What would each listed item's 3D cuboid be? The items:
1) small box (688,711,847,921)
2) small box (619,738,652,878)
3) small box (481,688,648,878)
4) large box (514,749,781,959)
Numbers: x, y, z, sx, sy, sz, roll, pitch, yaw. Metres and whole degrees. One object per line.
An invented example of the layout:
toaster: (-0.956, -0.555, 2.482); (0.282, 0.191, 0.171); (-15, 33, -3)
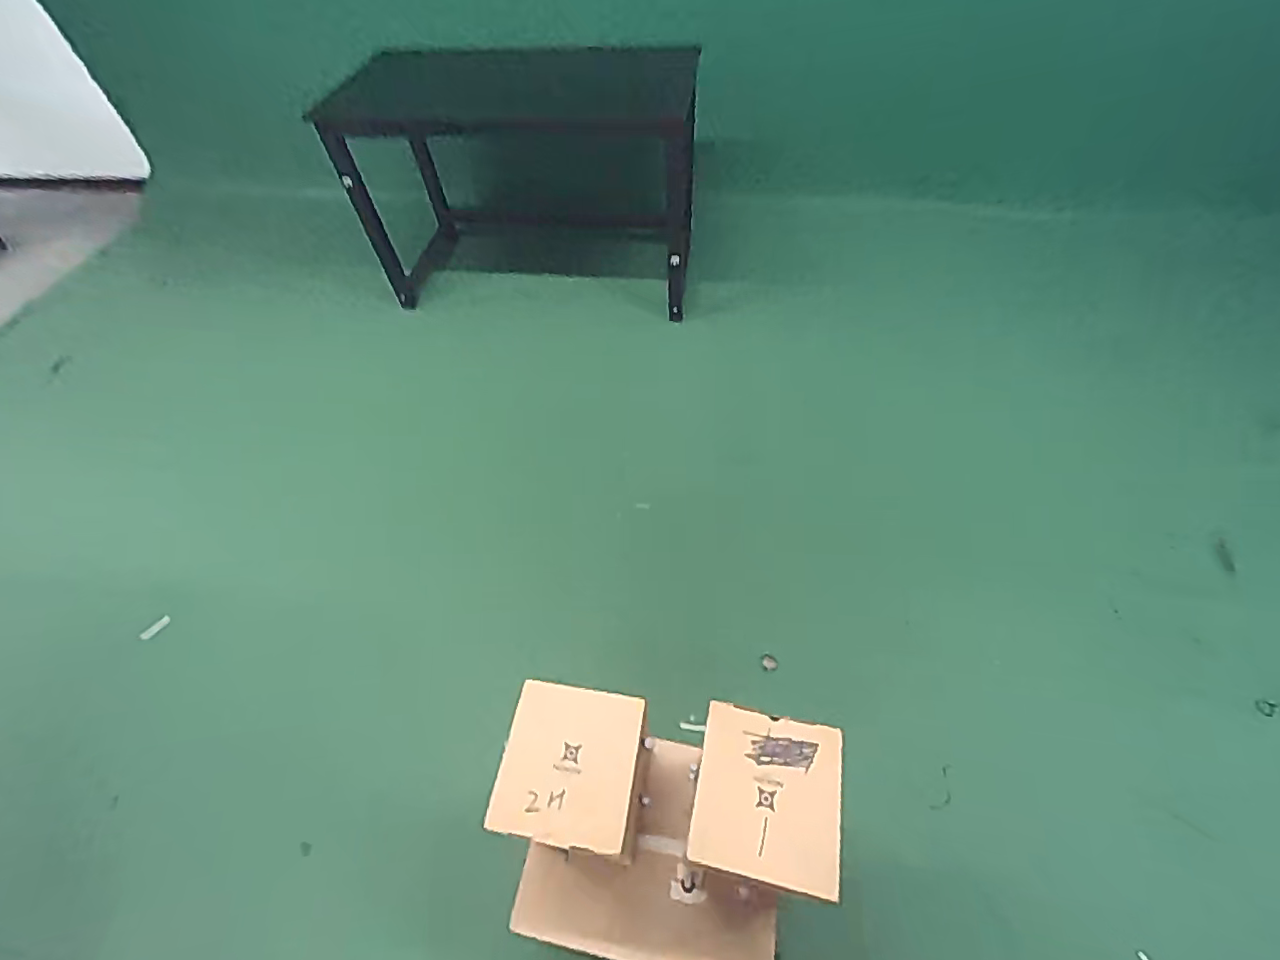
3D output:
small box: (0.156, 0.420, 0.680); (0.168, 0.176, 0.179); (8, 54, 12)
small box: (-0.076, 0.500, 0.849); (0.168, 0.176, 0.179); (7, 53, 9)
small box: (-0.084, 0.401, 0.716); (0.168, 0.176, 0.179); (7, 53, 9)
large box: (0.034, 0.699, 0.993); (0.408, 0.320, 0.320); (7, 54, 9)
